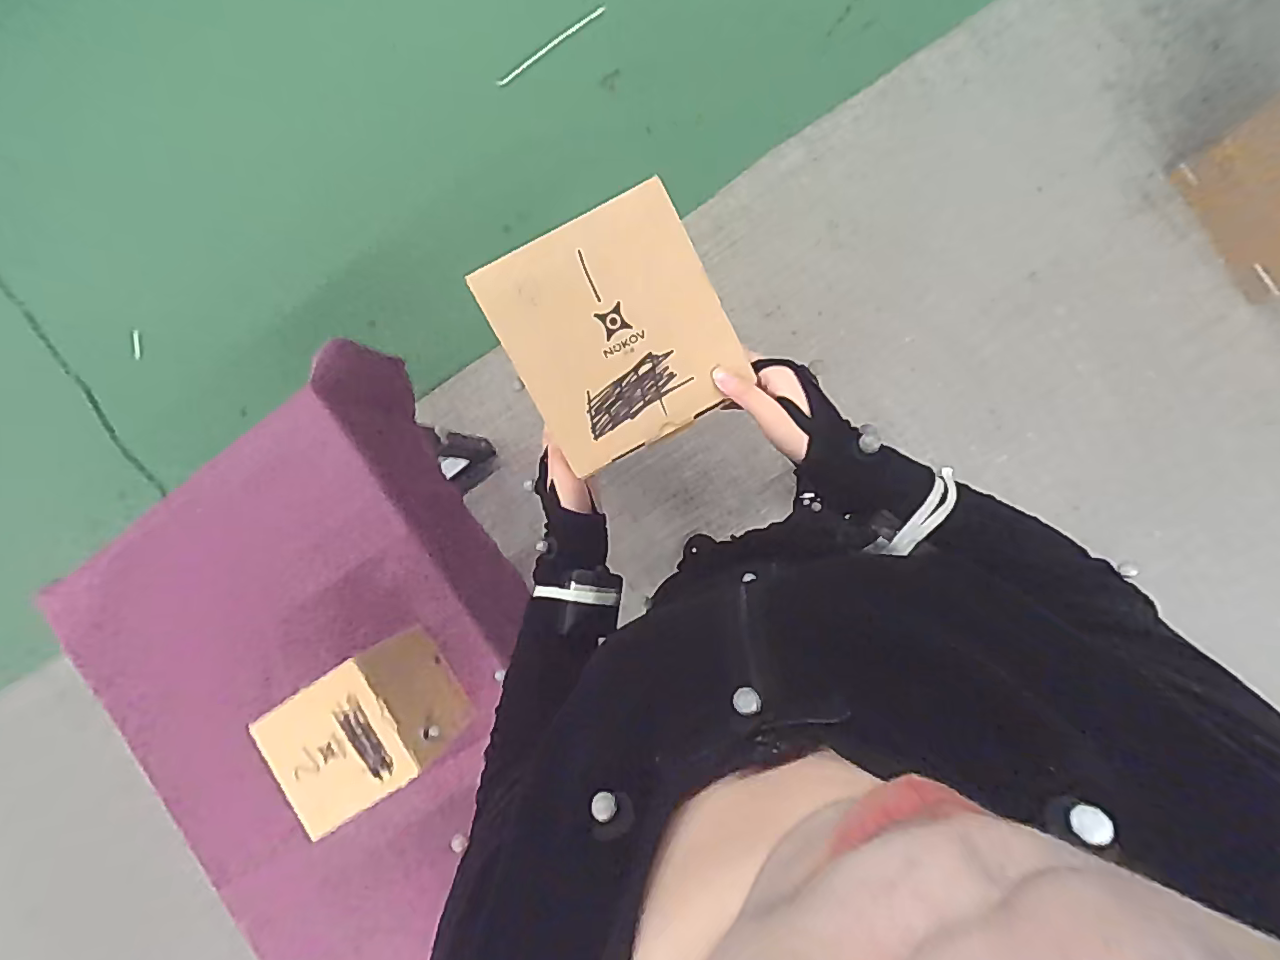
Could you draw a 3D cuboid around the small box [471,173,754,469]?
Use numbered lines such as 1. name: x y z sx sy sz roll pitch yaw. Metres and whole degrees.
1. small box: -0.024 -0.129 0.493 0.168 0.176 0.179 -27 98 -2
